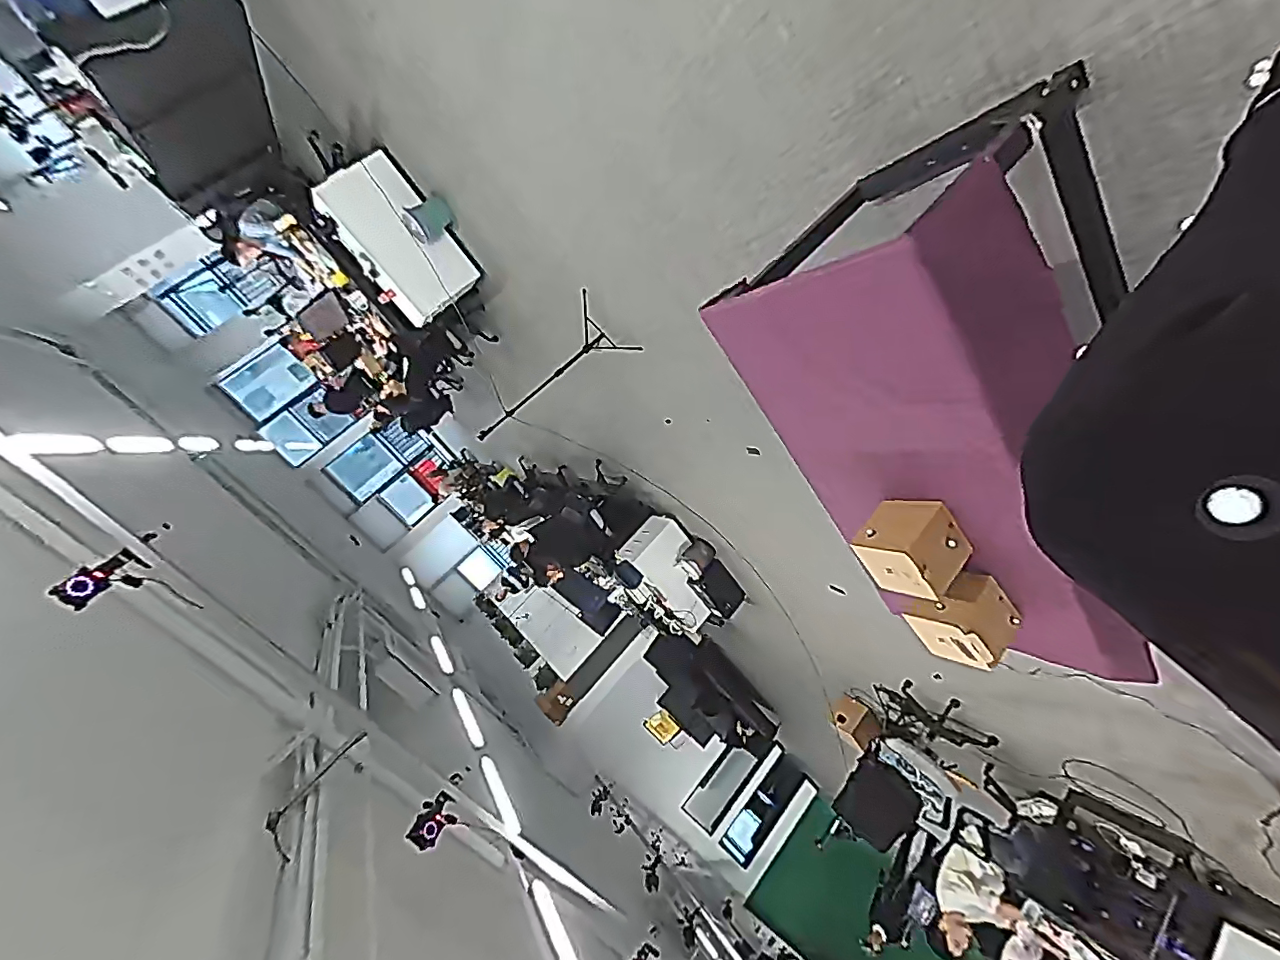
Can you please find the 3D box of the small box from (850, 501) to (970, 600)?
[{"bbox_3d":[0.671,0.167,1.345,0.168,0.176,0.179,50,161,-17],"label":"small box"}]

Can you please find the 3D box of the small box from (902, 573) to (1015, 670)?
[{"bbox_3d":[0.834,0.356,1.406,0.168,0.176,0.179,49,162,-13],"label":"small box"}]
